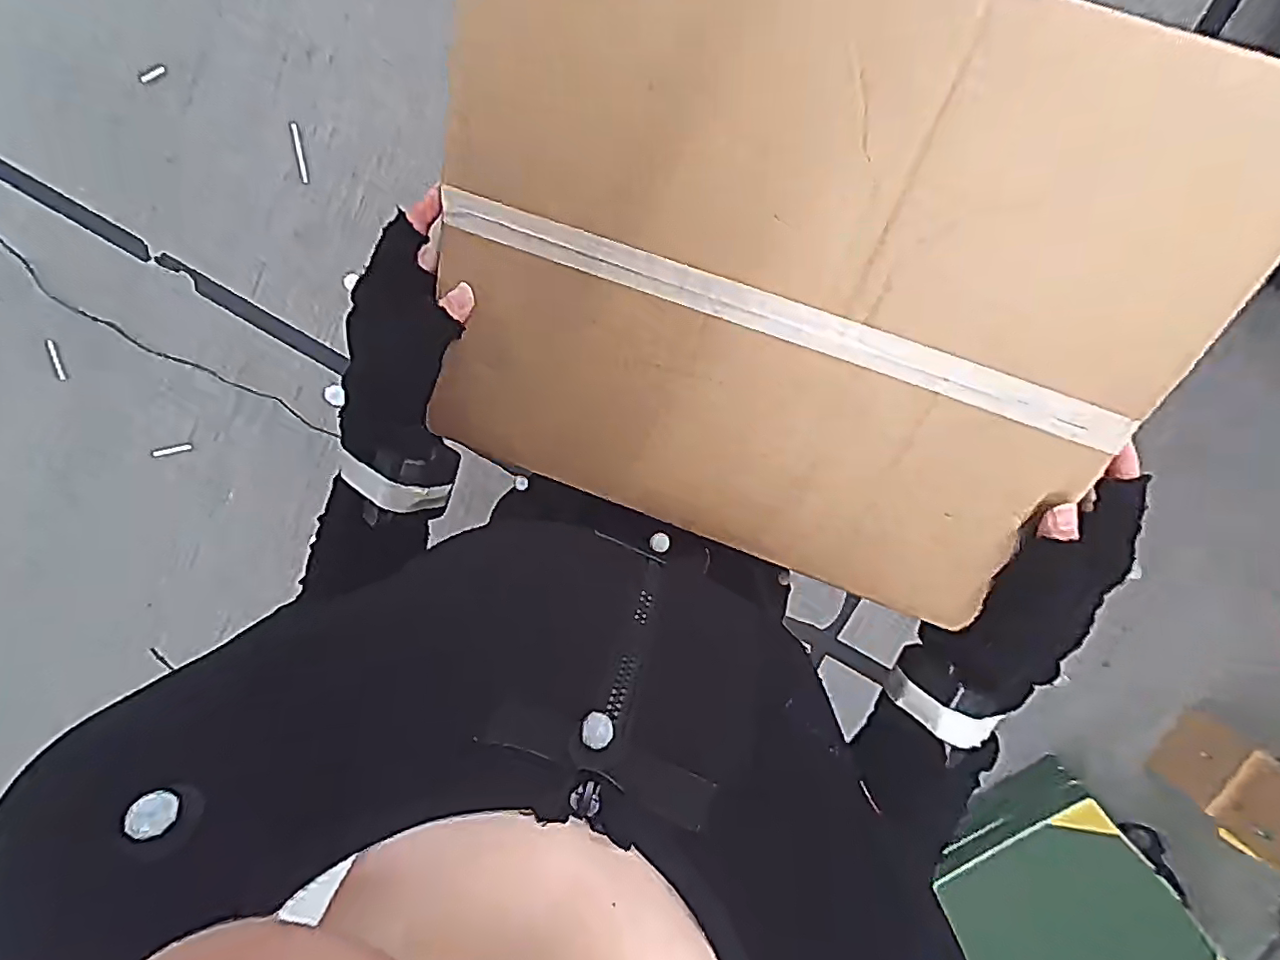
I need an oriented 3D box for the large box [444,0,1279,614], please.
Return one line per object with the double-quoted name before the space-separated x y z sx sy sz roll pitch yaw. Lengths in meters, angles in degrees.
"large box" 0.110 -0.163 0.444 0.408 0.320 0.320 21 121 3
